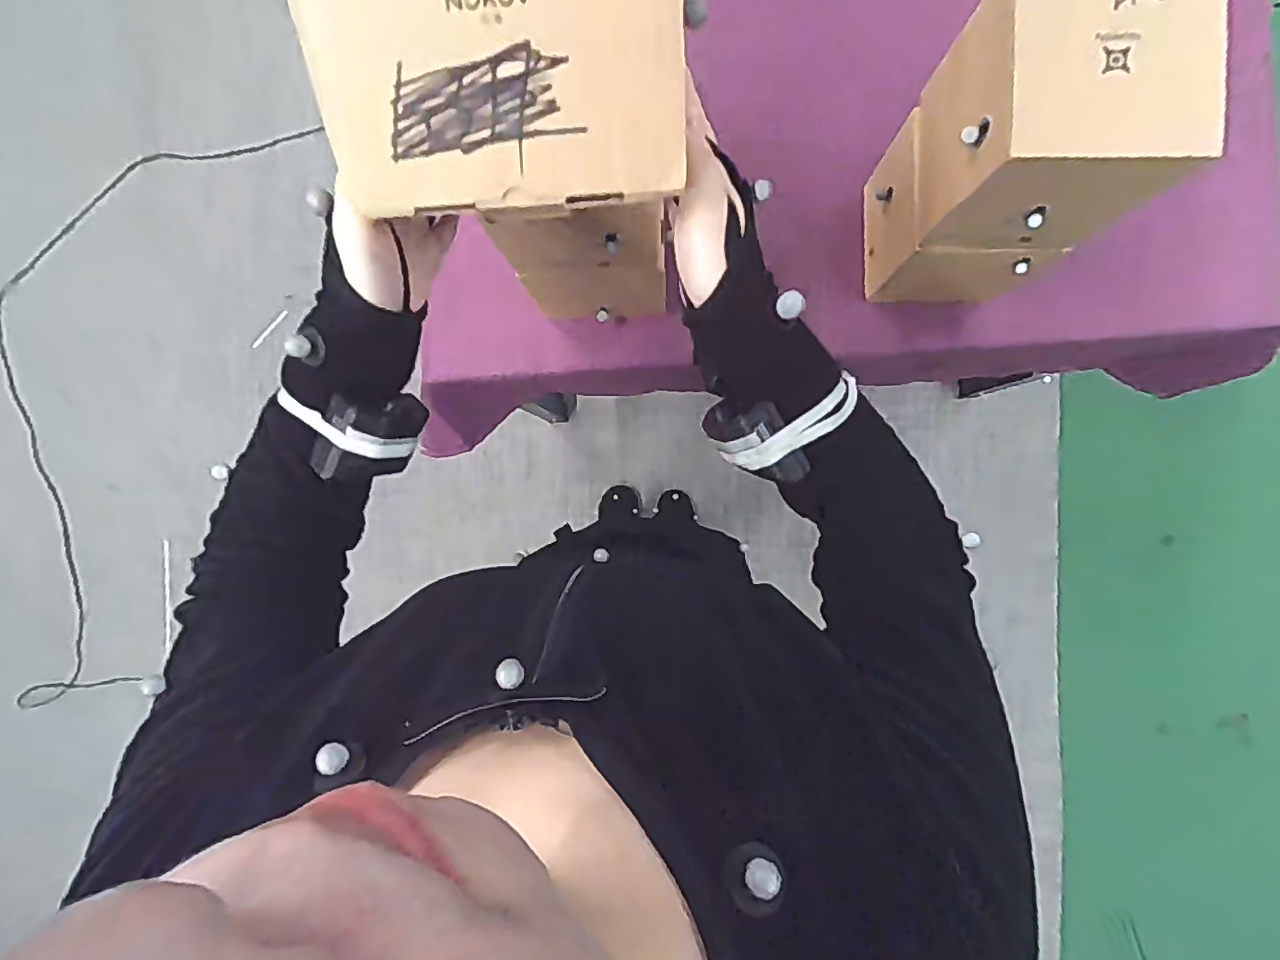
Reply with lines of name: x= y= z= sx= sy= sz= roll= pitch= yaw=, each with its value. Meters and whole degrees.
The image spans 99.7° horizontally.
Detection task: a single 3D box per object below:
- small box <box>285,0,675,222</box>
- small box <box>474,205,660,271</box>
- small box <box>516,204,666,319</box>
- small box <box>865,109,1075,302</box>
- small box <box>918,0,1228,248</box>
small box: x=-0.065 y=-0.247 z=0.289 sx=0.168 sy=0.176 sz=0.179 roll=-2 pitch=121 yaw=3
small box: x=-0.064 y=-0.324 z=0.543 sx=0.168 sy=0.176 sz=0.179 roll=1 pitch=89 yaw=3
small box: x=-0.055 y=-0.317 z=0.706 sx=0.179 sy=0.176 sz=0.168 roll=0 pitch=89 yaw=3
small box: x=0.396 y=-0.332 z=0.679 sx=0.179 sy=0.176 sz=0.168 roll=0 pitch=89 yaw=3
small box: x=0.386 y=-0.339 z=0.514 sx=0.168 sy=0.176 sz=0.179 roll=3 pitch=89 yaw=3
